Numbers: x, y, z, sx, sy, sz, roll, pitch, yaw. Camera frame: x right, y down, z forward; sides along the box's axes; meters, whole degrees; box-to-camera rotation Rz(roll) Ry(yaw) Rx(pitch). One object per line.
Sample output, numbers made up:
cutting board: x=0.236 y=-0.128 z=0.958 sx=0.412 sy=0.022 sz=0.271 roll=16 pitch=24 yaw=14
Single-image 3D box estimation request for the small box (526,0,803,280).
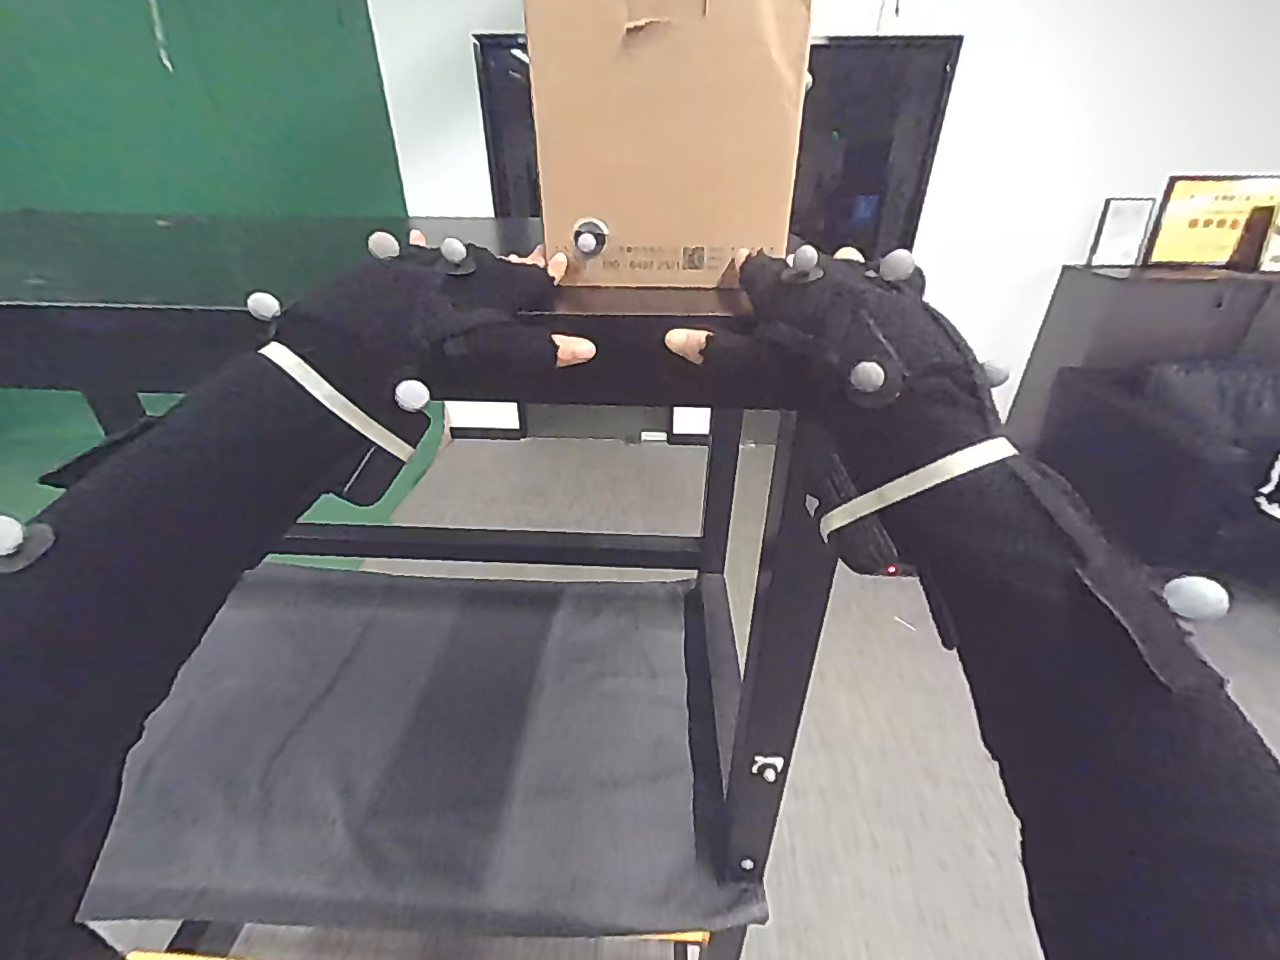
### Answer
small box: x=0.024 y=-0.254 z=0.417 sx=0.168 sy=0.176 sz=0.179 roll=3 pitch=29 yaw=6
